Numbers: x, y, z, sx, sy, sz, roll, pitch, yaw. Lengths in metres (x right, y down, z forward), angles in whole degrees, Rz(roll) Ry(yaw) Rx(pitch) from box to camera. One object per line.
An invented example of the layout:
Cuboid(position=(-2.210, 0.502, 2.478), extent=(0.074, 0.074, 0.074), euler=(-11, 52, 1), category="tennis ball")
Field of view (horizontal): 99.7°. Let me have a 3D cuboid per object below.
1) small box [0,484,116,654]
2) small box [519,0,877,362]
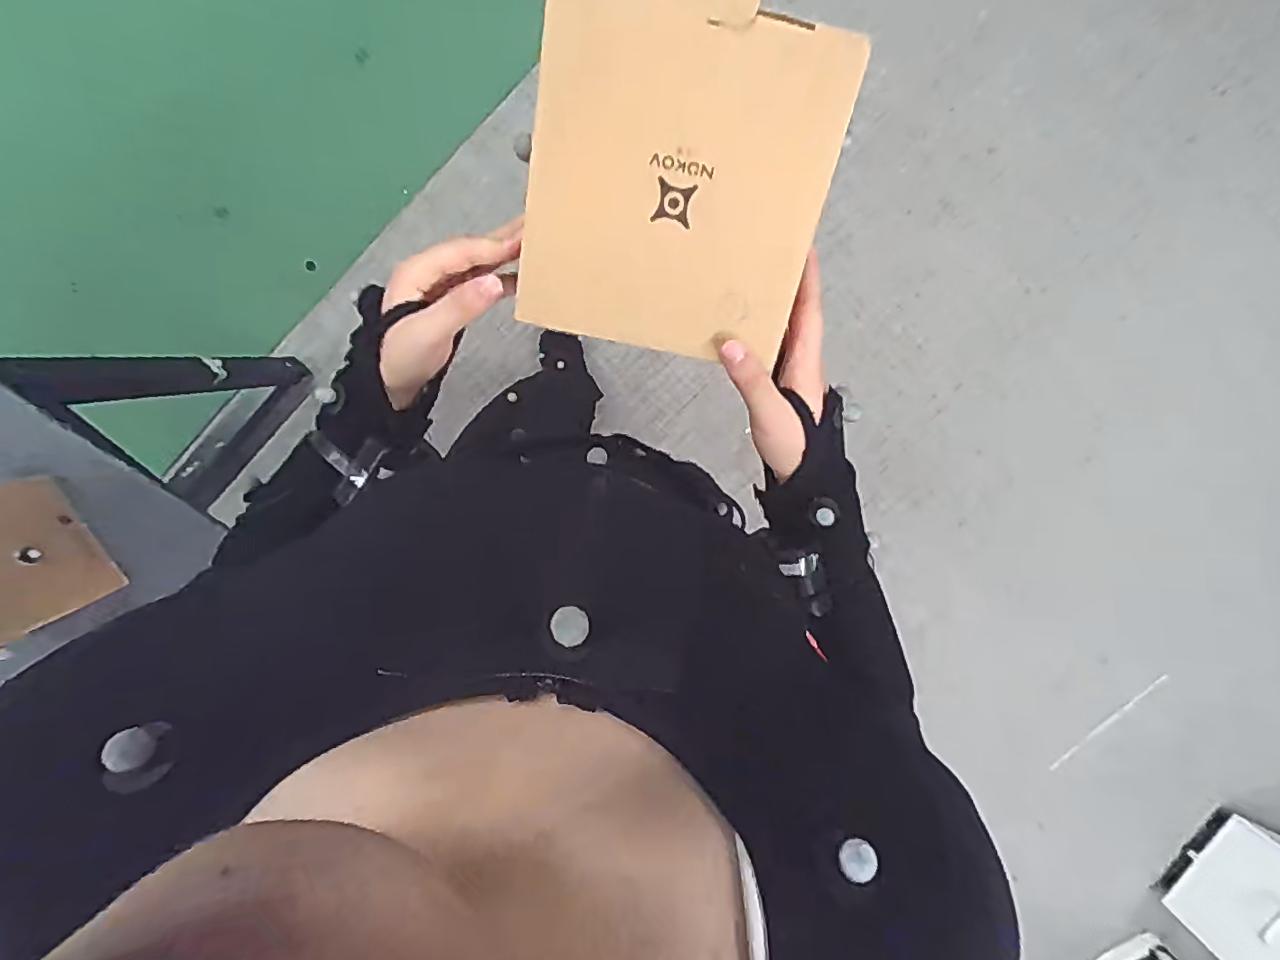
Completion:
Cuboid(position=(-0.777, 0.122, 0.626), extent=(0.179, 0.176, 0.168), euler=(-24, 103, 5), category="small box")
Cuboid(position=(0.024, -0.198, 0.368), extent=(0.168, 0.176, 0.179), euler=(10, 115, -5), category="small box")
